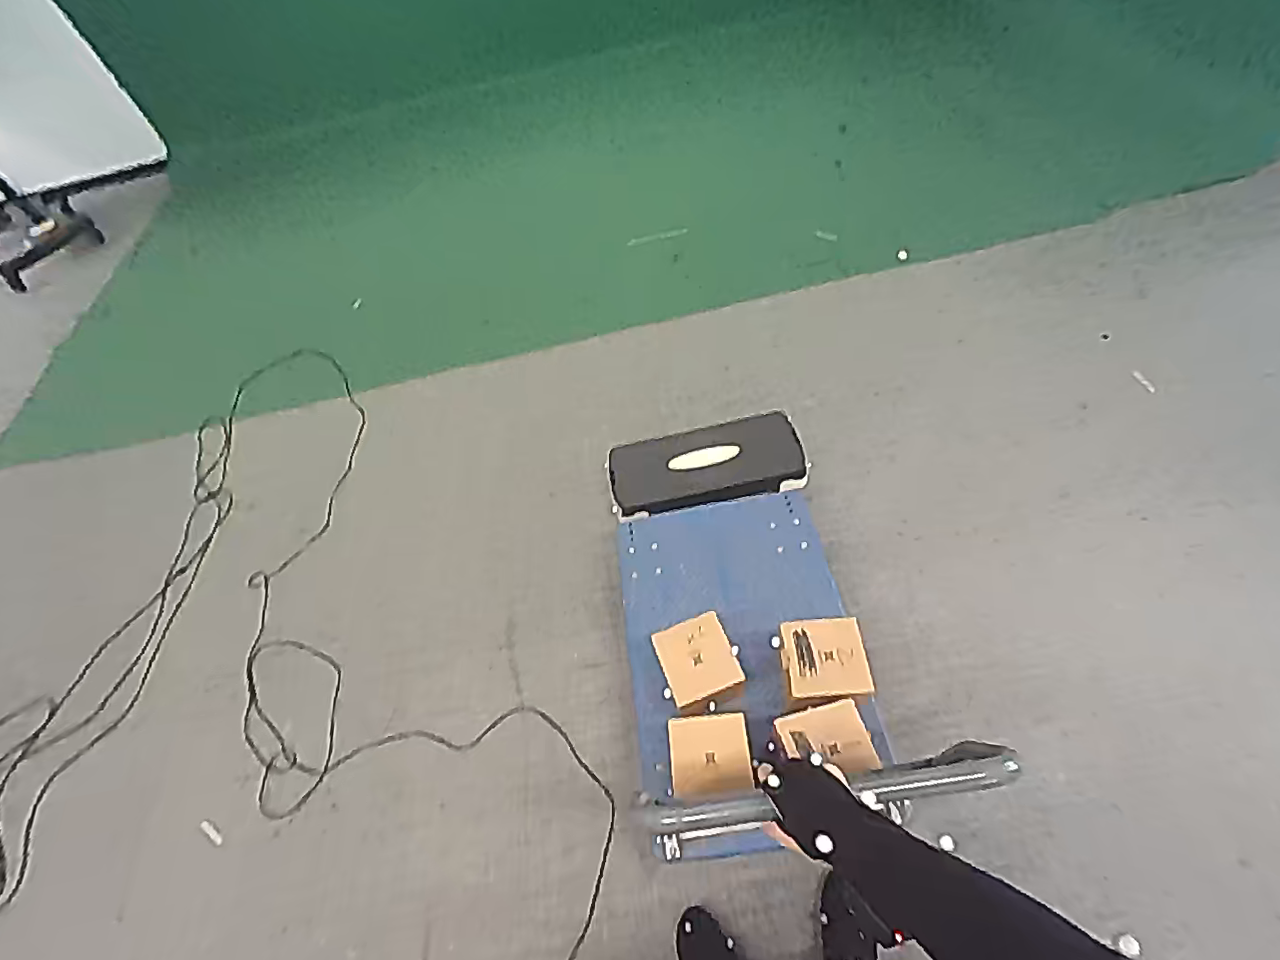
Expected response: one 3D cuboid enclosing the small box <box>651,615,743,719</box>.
[{"bbox_3d":[0.139,0.458,1.302,0.168,0.176,0.179,-20,55,-6],"label":"small box"}]
